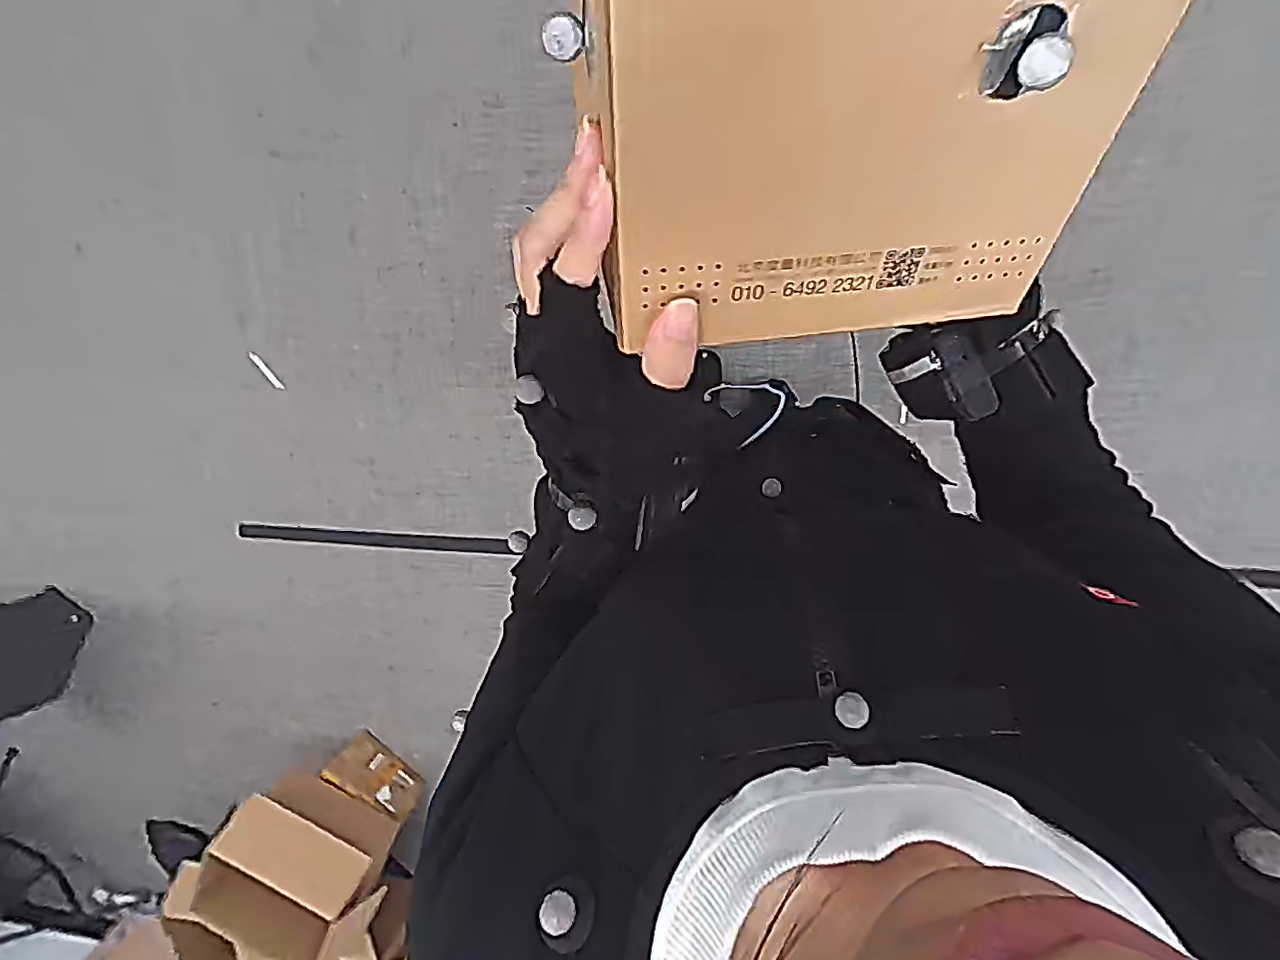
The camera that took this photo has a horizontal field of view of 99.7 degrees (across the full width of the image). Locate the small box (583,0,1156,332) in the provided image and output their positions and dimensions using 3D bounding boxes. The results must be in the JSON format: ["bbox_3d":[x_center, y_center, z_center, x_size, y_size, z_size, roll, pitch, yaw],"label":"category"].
[{"bbox_3d":[0.063,-0.173,0.216,0.168,0.179,0.176,-5,139,-5],"label":"small box"}]
